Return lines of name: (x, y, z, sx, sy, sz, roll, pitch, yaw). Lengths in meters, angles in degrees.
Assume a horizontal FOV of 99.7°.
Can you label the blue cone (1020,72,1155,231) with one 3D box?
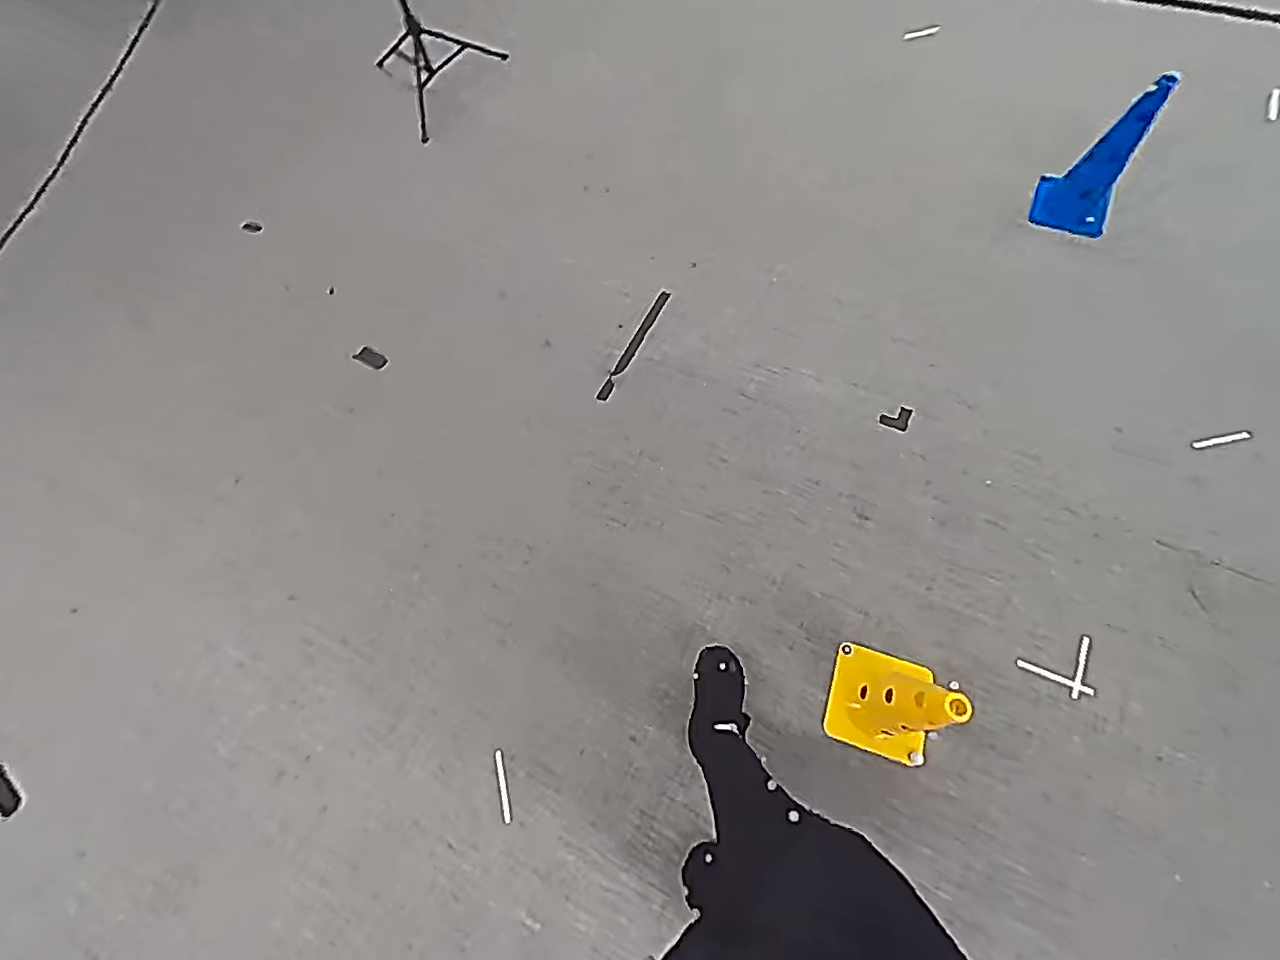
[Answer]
blue cone: (1.220, -0.876, 1.440, 0.192, 0.380, 0.193, 23, 72, 14)
